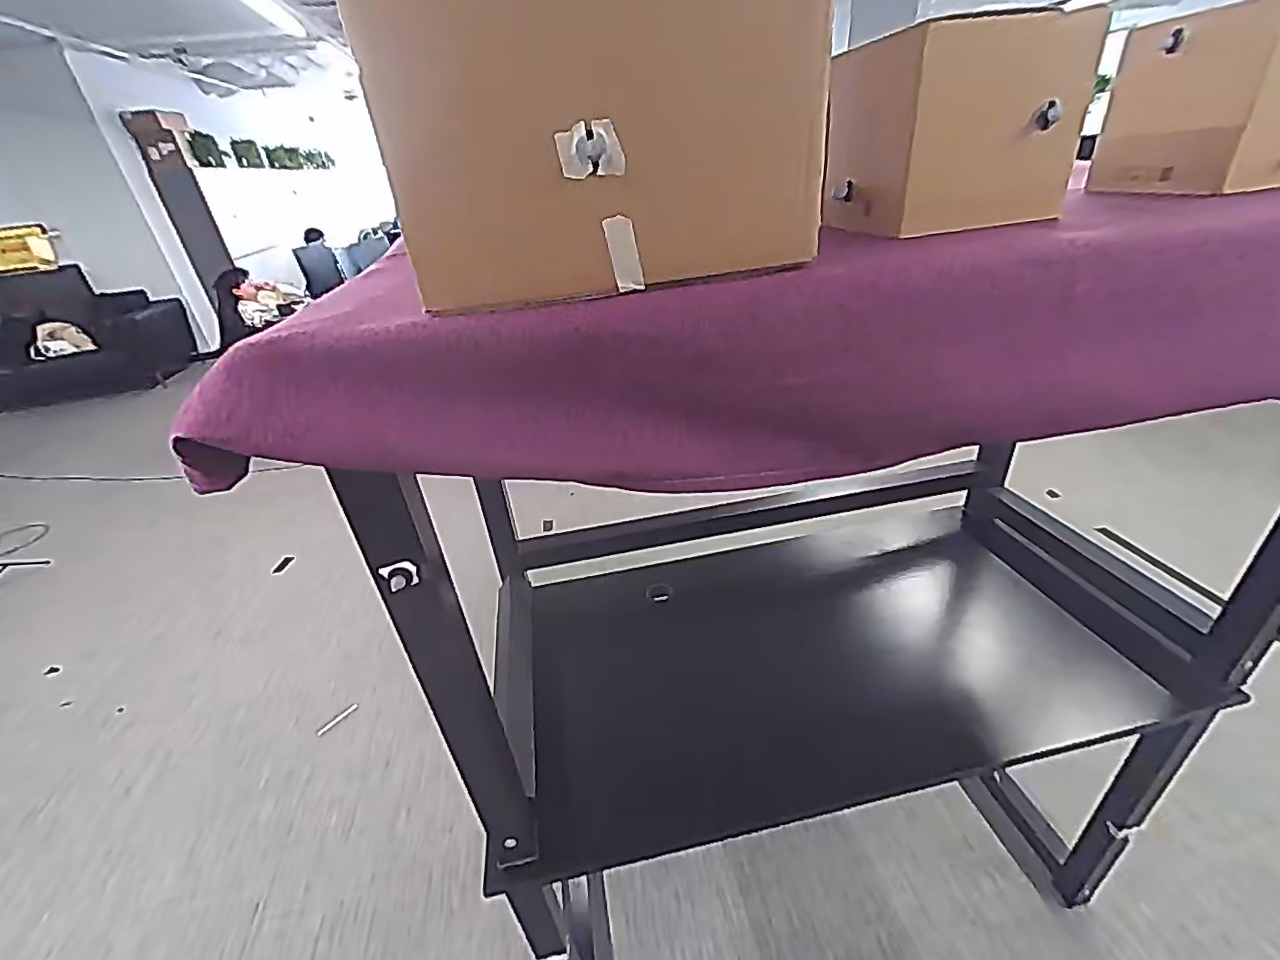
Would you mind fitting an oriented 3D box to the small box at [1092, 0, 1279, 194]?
[{"bbox_3d":[0.654,-0.417,0.588,0.179,0.176,0.168,-9,29,-5],"label":"small box"}]

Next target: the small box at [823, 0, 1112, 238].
[{"bbox_3d":[0.306,-0.354,0.551,0.179,0.176,0.168,-10,30,-6],"label":"small box"}]
